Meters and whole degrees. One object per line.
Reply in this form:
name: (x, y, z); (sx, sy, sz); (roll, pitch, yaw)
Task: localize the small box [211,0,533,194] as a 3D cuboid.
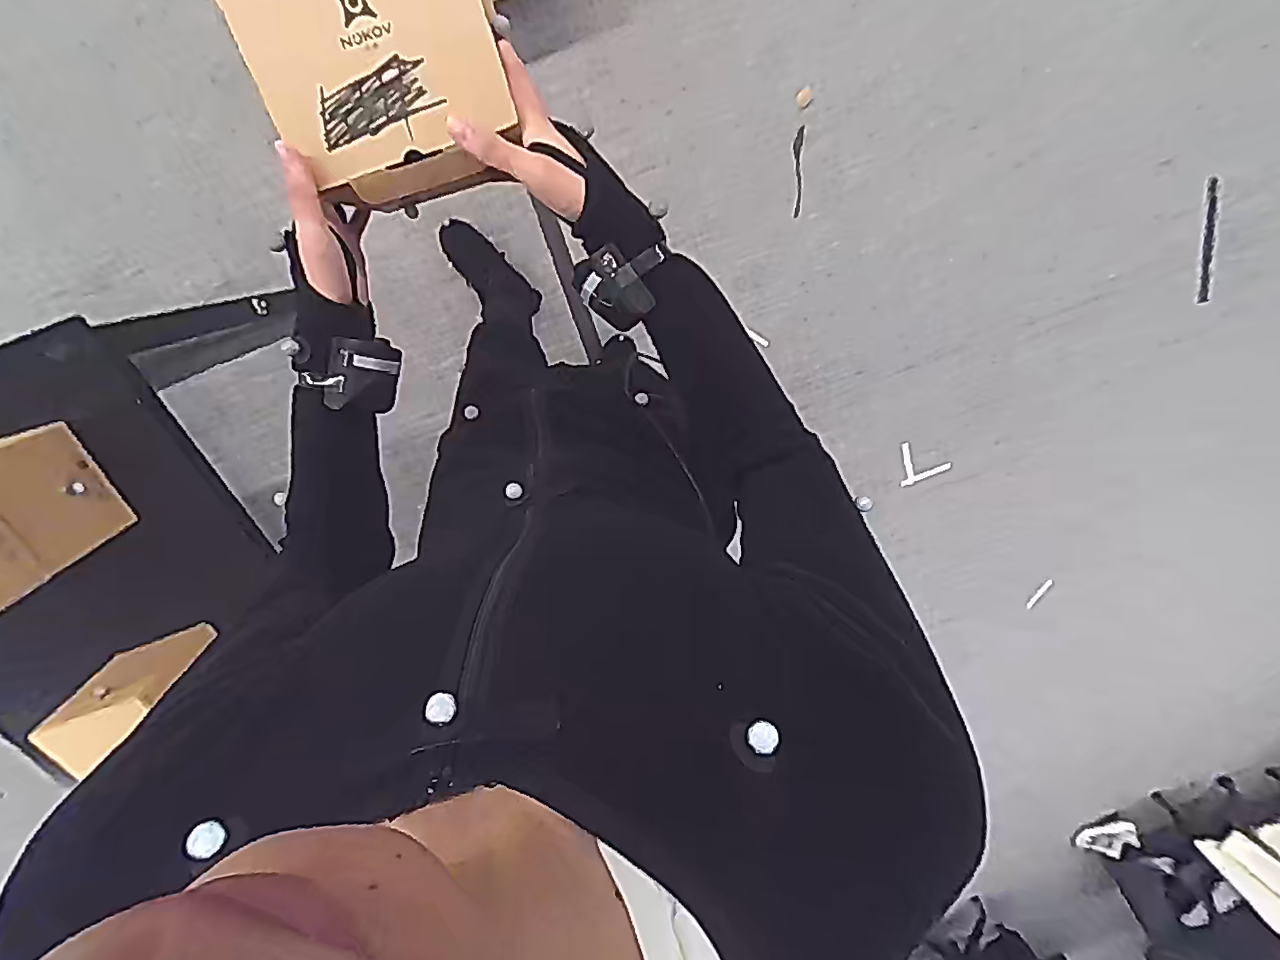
small box: (-0.193, -0.338, 0.421); (0.168, 0.176, 0.179); (-16, 113, 2)

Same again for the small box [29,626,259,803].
small box: (-0.776, 0.371, 0.873); (0.179, 0.176, 0.168); (-21, 115, 2)

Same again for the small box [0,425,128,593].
small box: (-0.860, 0.045, 0.714); (0.179, 0.176, 0.168); (-15, 116, 0)
